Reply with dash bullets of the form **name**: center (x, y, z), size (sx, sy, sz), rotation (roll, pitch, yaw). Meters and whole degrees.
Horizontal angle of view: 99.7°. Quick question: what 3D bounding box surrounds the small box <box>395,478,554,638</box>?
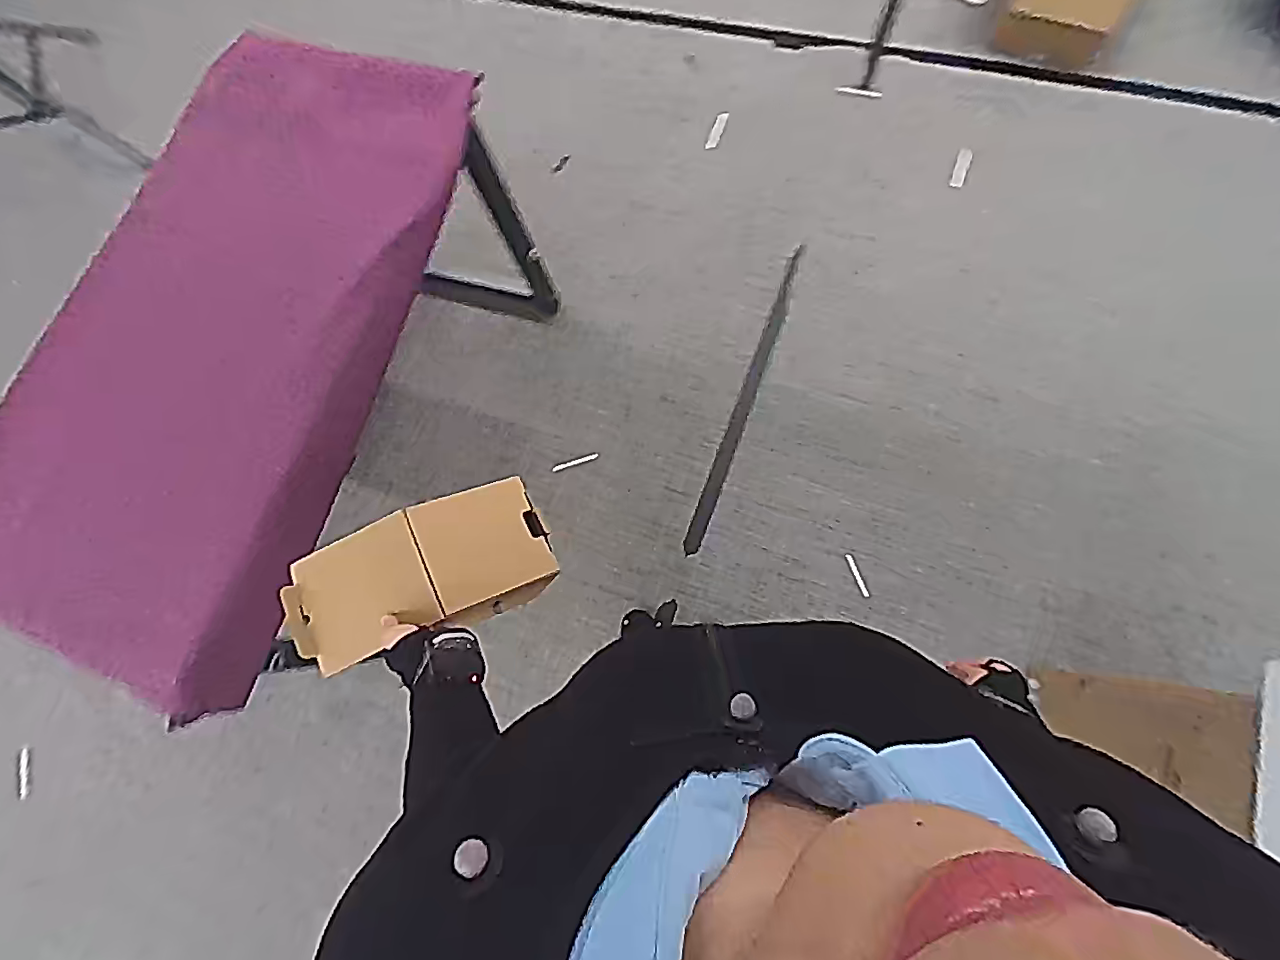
- **small box**: center (-0.257, 0.124, 0.827), size (0.179, 0.176, 0.168), rotation (-20, 75, -31)
